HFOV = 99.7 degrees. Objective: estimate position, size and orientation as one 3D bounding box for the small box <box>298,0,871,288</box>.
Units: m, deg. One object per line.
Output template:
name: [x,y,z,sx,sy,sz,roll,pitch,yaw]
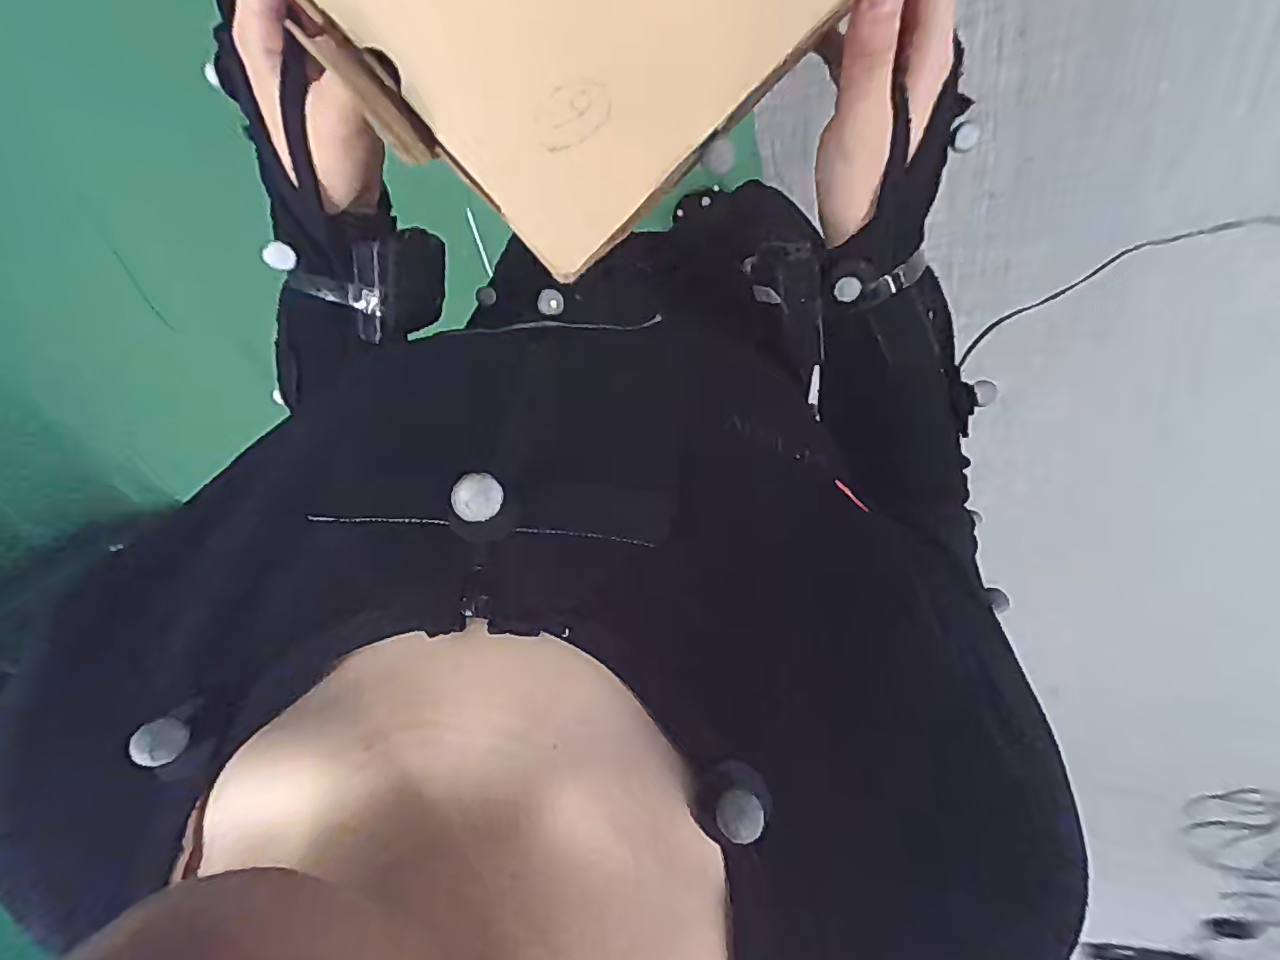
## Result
small box: [-0.012,-0.212,0.223,0.179,0.176,0.168,-37,110,22]
